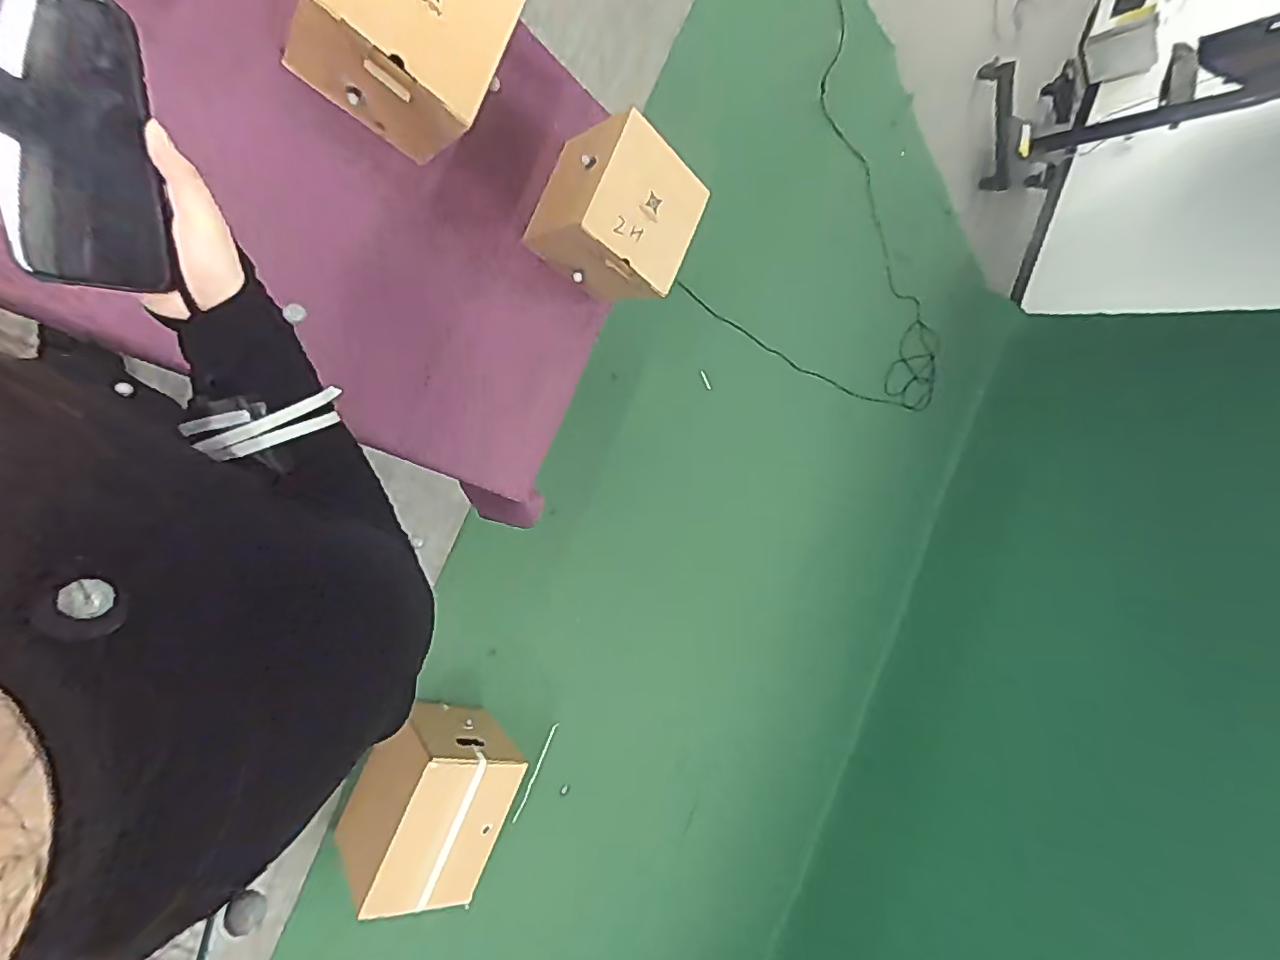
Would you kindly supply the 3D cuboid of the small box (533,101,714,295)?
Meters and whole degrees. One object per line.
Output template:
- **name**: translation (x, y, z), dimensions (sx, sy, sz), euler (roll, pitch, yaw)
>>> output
- **small box**: translation (-0.029, -0.391, 0.787), dimensions (0.168, 0.176, 0.179), euler (27, 85, -39)

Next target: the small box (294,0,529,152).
- **small box**: translation (-0.249, -0.501, 0.584), dimensions (0.168, 0.176, 0.179), euler (24, 87, -41)
